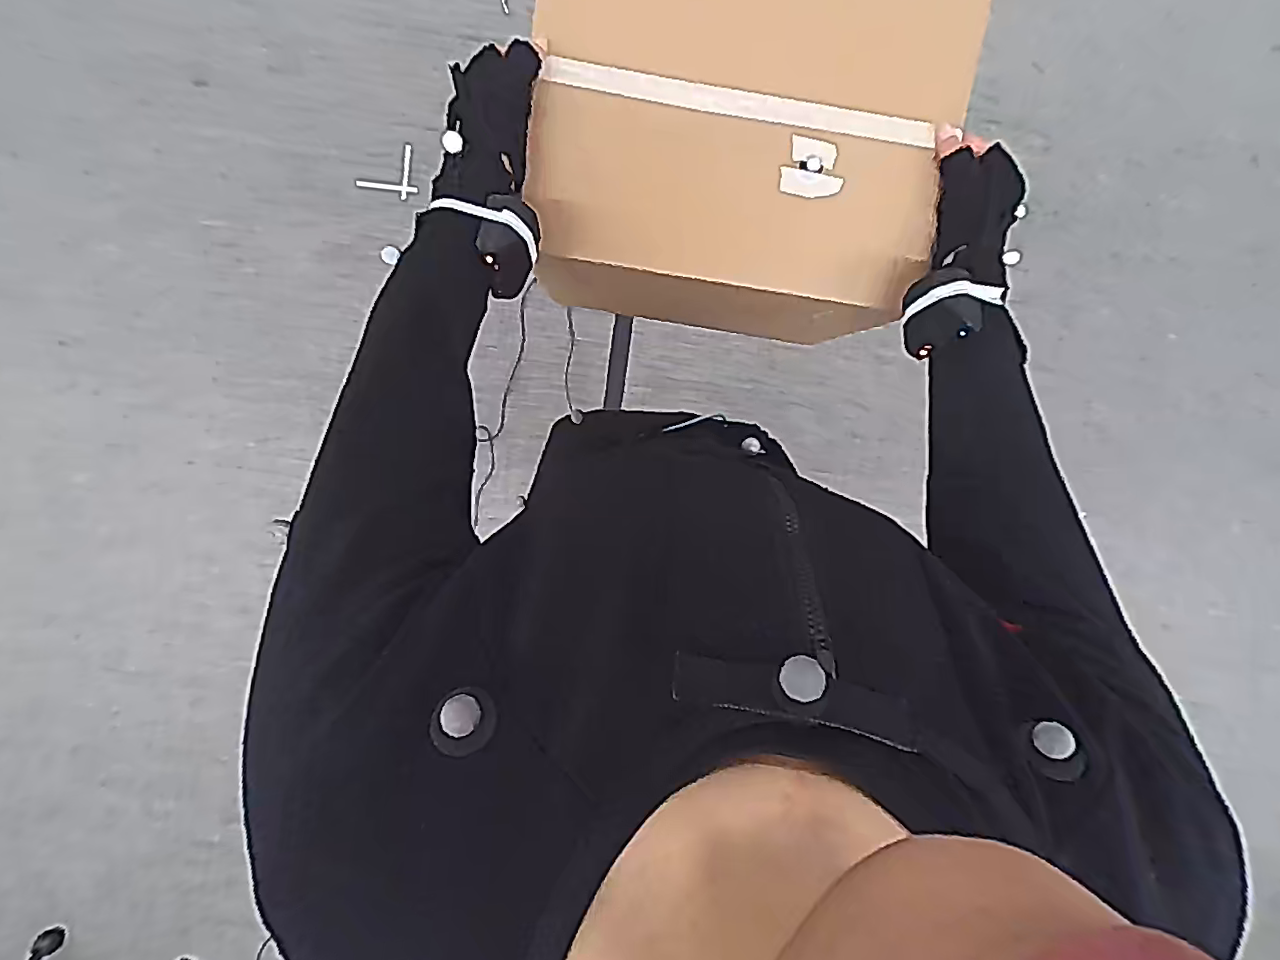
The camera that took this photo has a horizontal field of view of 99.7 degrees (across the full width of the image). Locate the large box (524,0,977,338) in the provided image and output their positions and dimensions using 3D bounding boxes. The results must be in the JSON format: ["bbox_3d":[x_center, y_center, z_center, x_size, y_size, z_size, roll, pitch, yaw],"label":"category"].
[{"bbox_3d":[0.095,-0.370,0.657,0.408,0.320,0.320,8,99,-4],"label":"large box"}]
